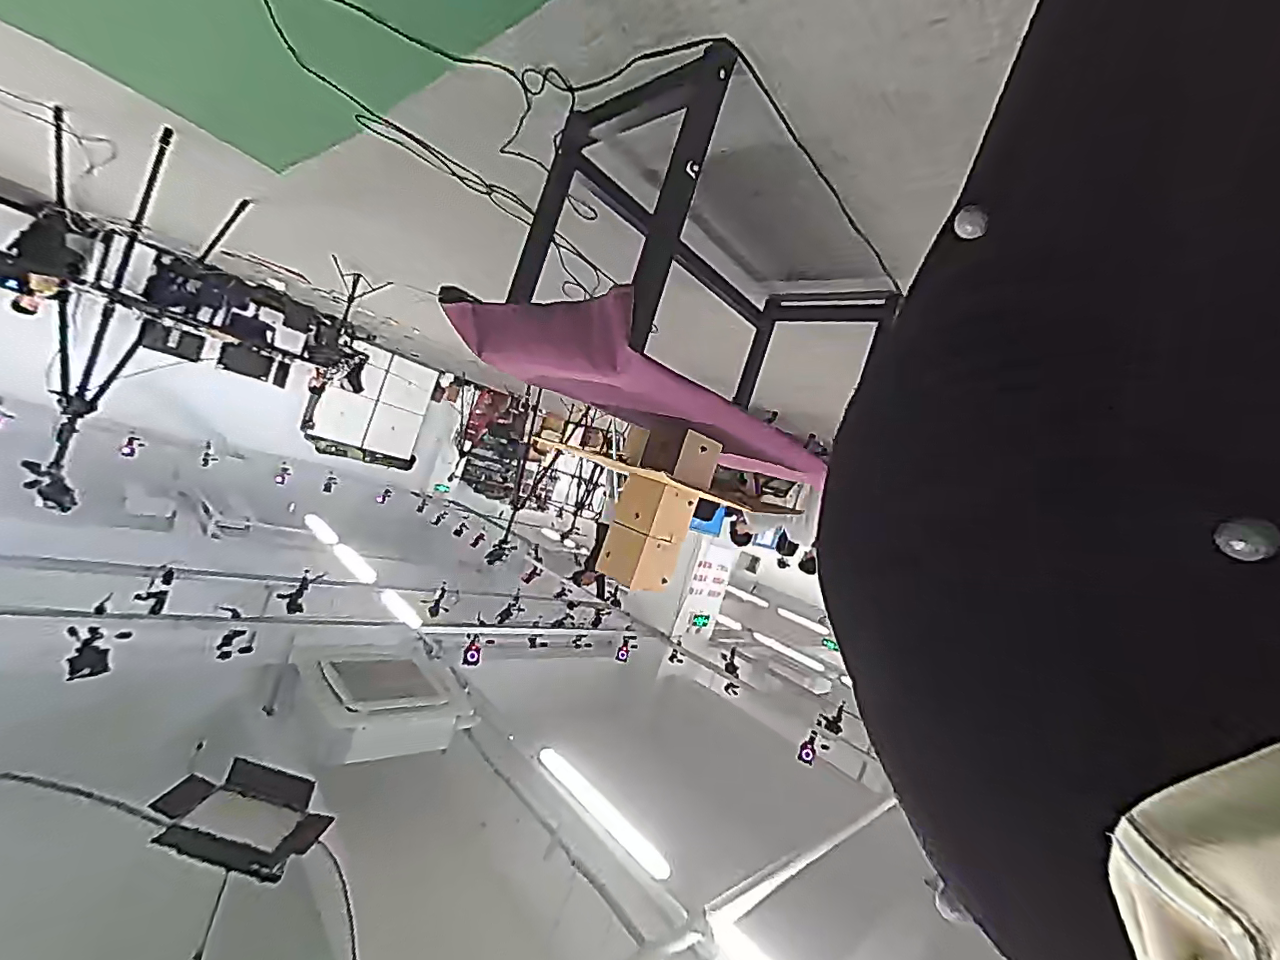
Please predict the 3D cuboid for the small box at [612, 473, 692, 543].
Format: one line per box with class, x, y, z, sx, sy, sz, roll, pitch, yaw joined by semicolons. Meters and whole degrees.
small box;0.045;0.086;1.711;0.168;0.176;0.179;22;177;-43
